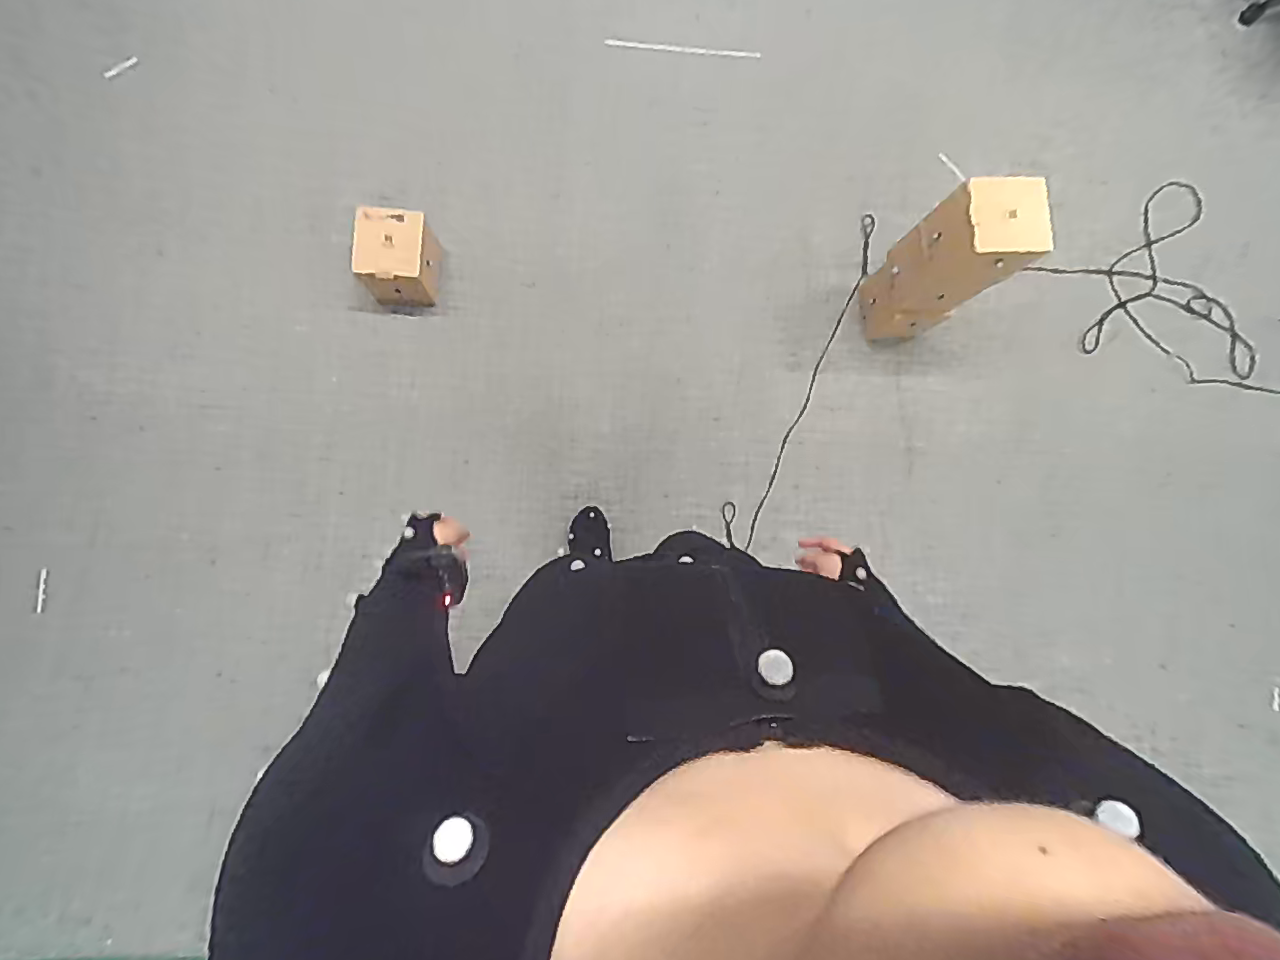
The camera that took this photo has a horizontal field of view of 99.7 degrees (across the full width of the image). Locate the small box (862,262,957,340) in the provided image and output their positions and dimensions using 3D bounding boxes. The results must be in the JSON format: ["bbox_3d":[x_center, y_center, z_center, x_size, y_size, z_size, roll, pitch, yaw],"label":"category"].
[{"bbox_3d":[0.747,-0.503,1.523,0.179,0.176,0.168,-6,86,-5],"label":"small box"}]

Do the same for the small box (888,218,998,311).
[{"bbox_3d":[0.755,-0.536,1.362,0.179,0.176,0.168,-2,84,-4],"label":"small box"}]

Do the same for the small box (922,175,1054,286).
[{"bbox_3d":[0.763,-0.546,1.200,0.179,0.176,0.168,-3,85,-4],"label":"small box"}]

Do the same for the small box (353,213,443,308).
[{"bbox_3d":[-0.630,-0.571,1.426,0.168,0.176,0.179,3,85,-4],"label":"small box"}]
